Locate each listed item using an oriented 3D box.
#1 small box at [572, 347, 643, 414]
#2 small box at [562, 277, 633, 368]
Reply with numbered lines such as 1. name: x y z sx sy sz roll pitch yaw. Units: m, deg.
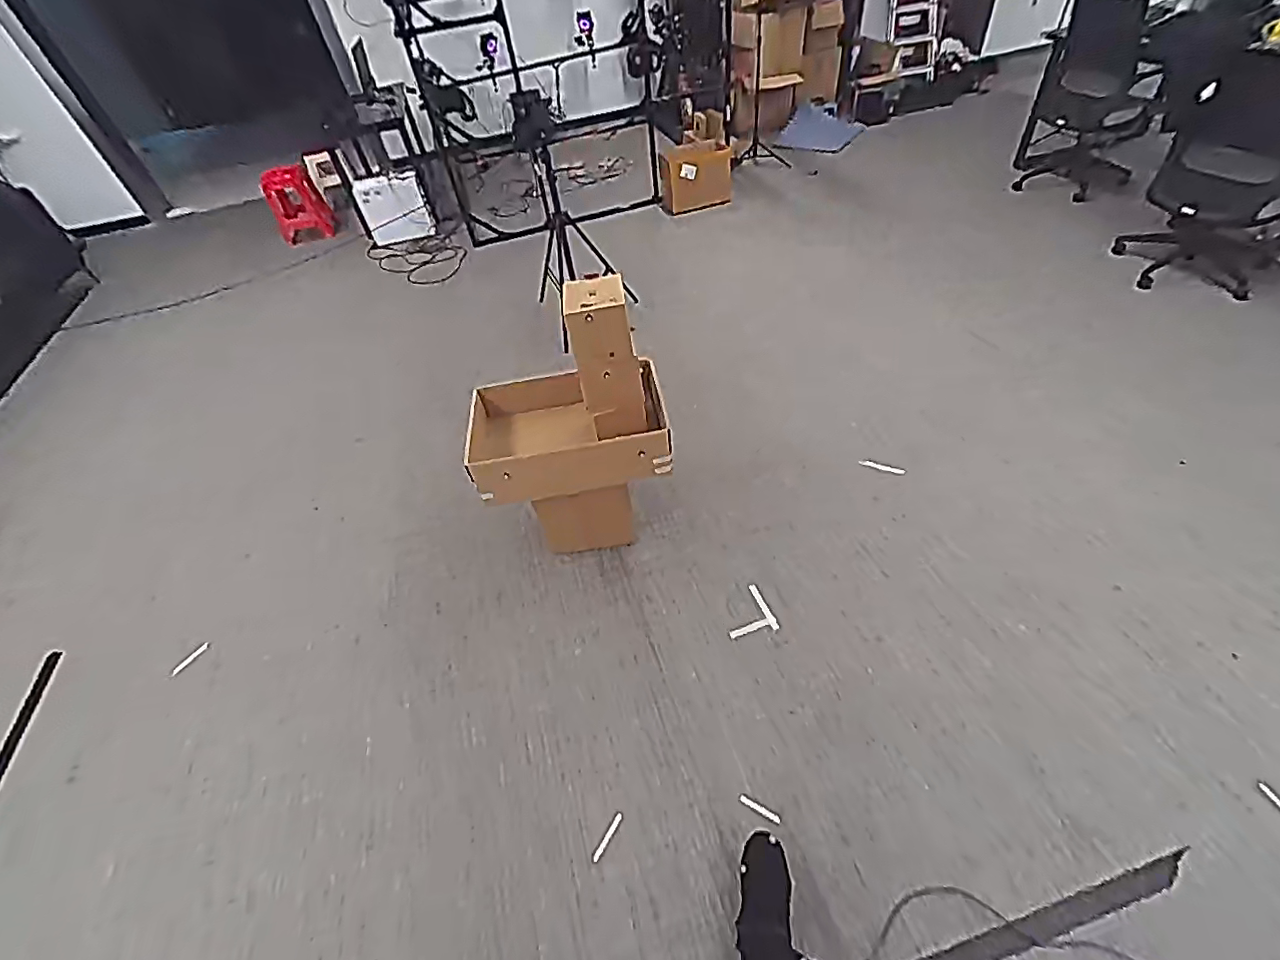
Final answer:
1. small box: -0.097 -0.320 1.618 0.179 0.176 0.168 -13 46 -2
2. small box: -0.117 -0.436 1.503 0.168 0.176 0.179 -10 45 3
